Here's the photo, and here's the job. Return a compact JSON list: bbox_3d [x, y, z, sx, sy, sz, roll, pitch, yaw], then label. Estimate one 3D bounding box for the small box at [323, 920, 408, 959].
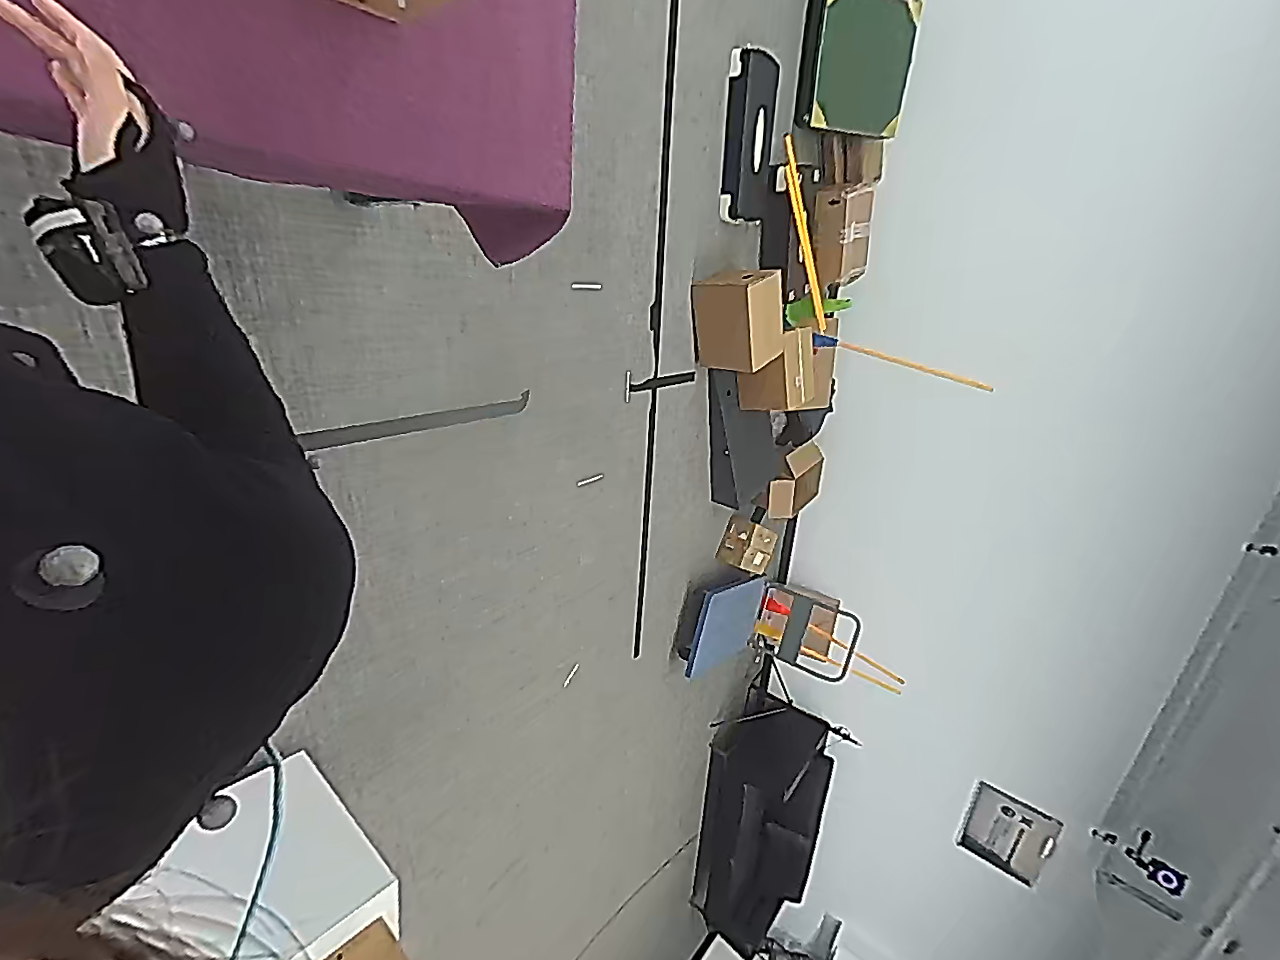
[{"bbox_3d":[-0.614,1.151,1.203,0.168,0.176,0.179,-13,118,-51],"label":"small box"}]
